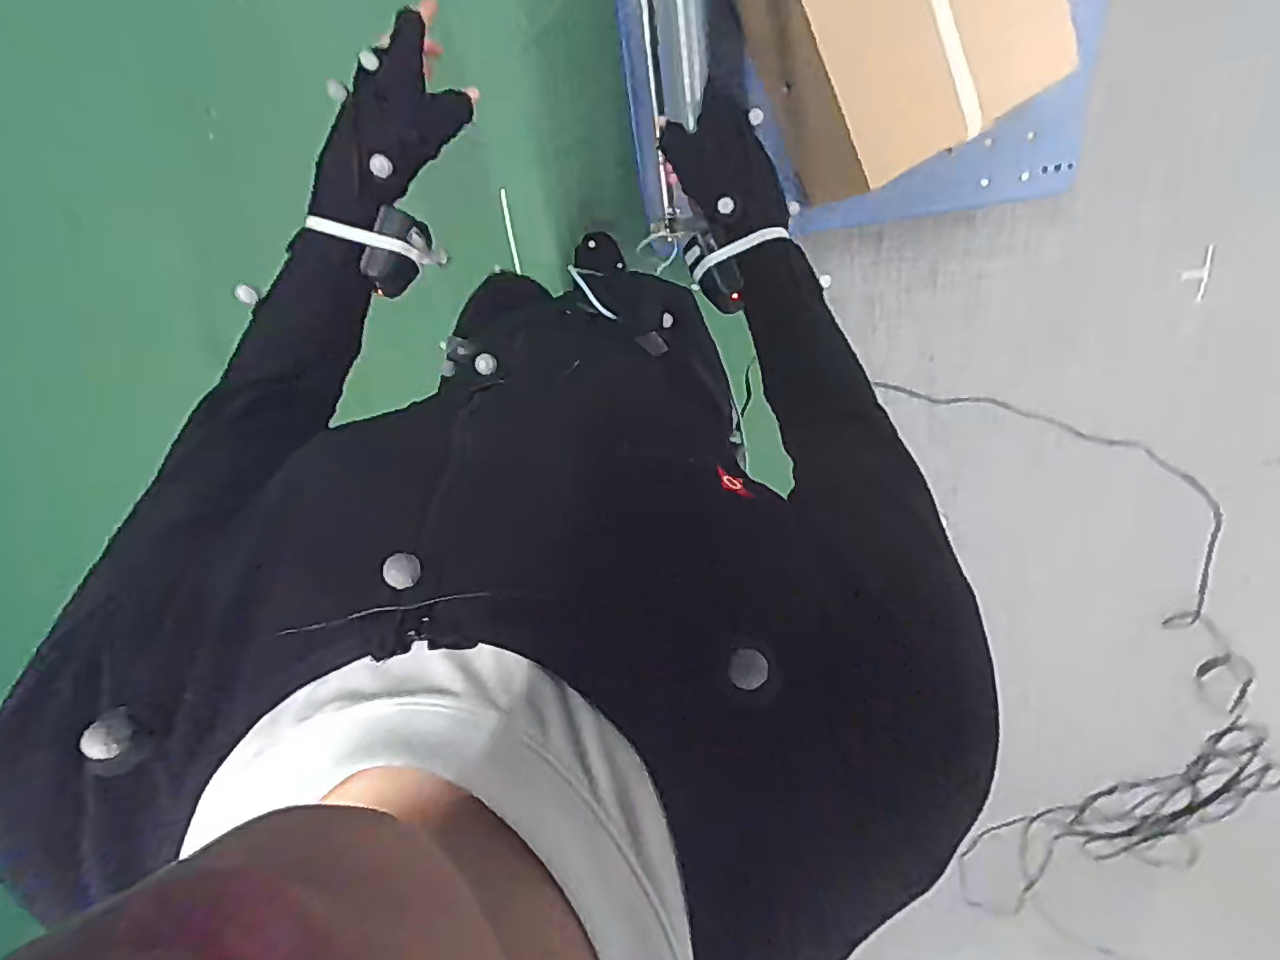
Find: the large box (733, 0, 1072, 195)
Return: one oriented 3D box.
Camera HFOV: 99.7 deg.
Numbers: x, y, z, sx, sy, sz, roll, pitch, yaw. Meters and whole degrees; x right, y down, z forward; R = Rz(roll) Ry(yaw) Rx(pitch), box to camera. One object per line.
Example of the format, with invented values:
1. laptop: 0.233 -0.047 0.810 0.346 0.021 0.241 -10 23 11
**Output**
1. large box: 0.380 -0.741 0.862 0.320 0.320 0.408 -28 110 12
